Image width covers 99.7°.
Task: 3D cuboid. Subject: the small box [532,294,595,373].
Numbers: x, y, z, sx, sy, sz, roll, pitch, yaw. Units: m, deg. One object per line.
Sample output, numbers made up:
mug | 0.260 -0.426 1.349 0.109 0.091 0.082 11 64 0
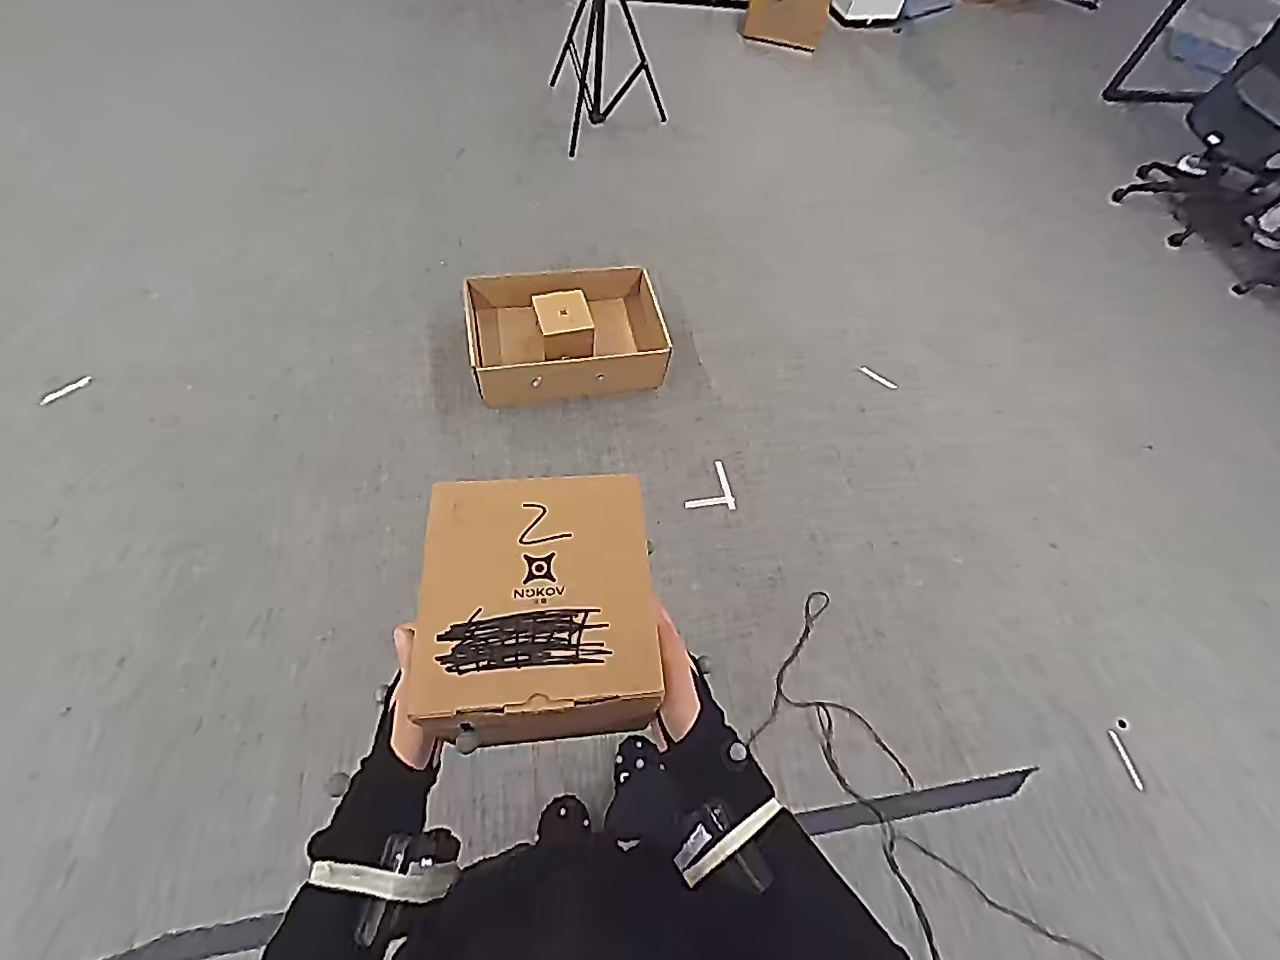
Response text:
small box | -0.253 -0.479 1.774 0.168 0.176 0.179 -14 64 -14
